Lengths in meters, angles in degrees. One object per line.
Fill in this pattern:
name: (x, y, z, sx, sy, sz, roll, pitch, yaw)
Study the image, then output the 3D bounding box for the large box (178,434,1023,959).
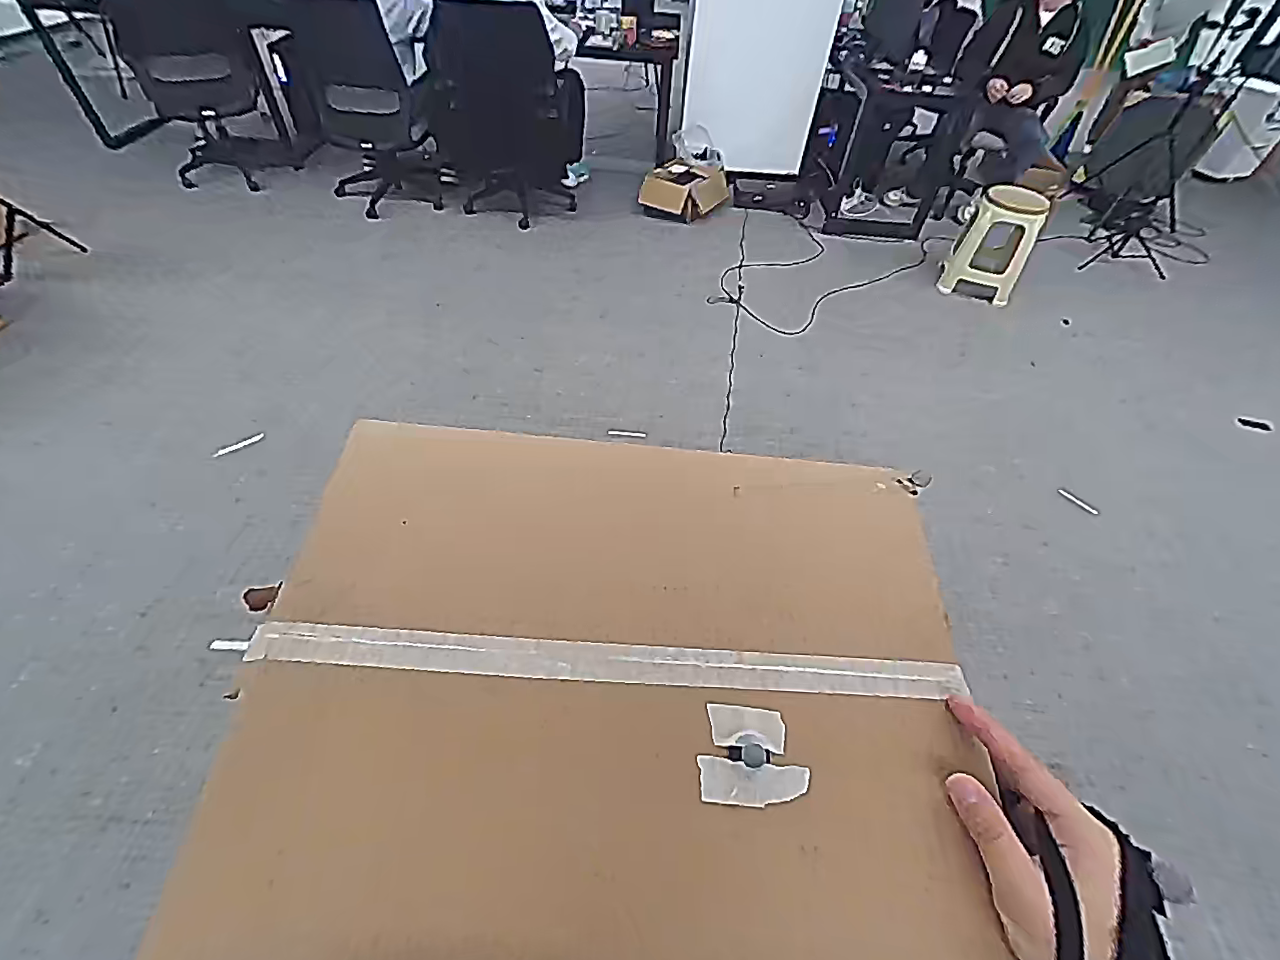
large box: (-0.020, 0.189, 0.449, 0.408, 0.320, 0.320, 5, 58, -4)
